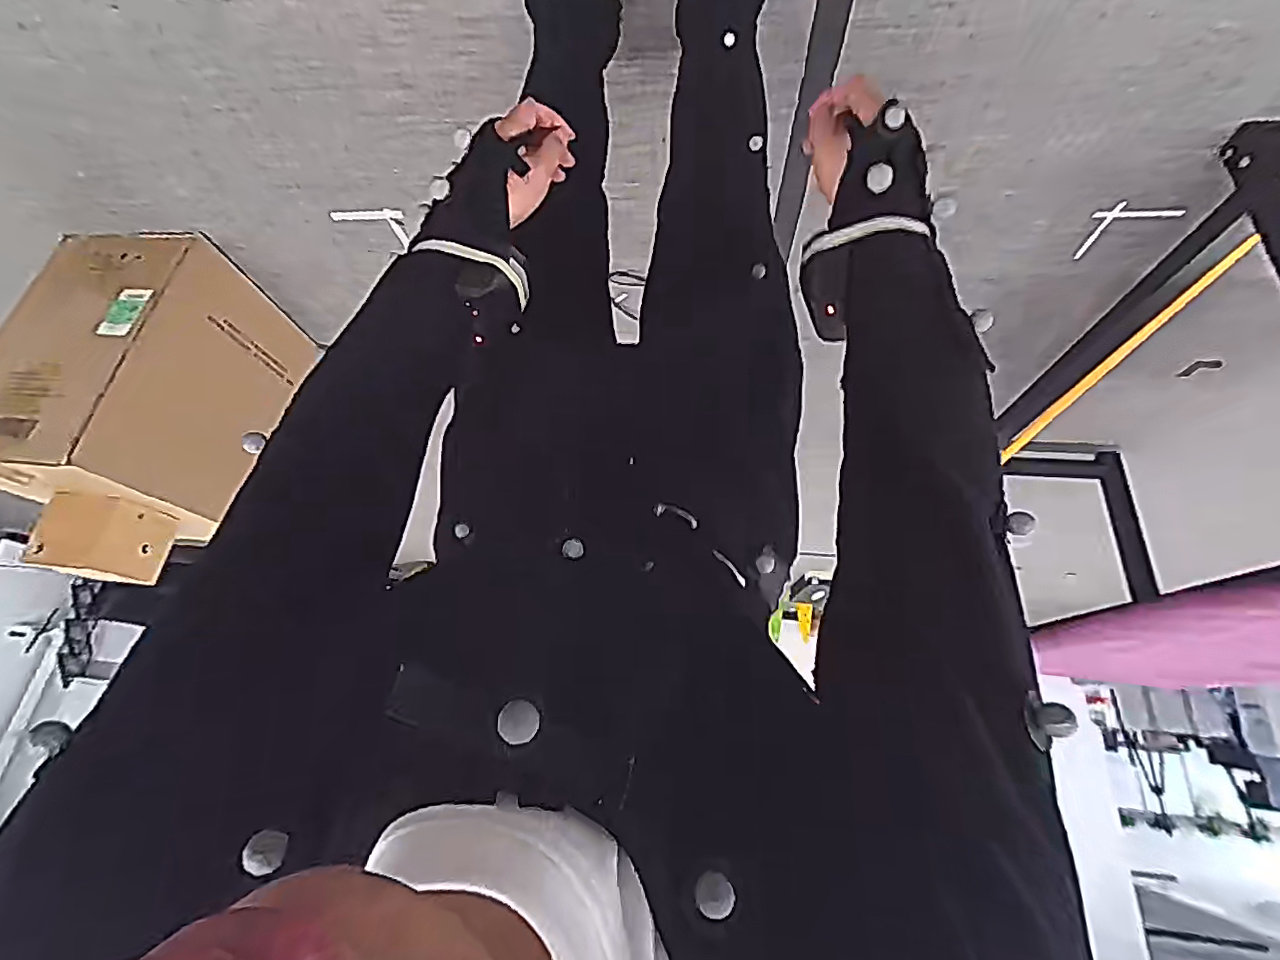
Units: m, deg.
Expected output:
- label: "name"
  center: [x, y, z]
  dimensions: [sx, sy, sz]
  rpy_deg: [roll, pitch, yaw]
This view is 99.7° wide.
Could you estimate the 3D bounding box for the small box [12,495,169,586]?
- label: "small box"
  center: [-1.246, 0.141, 1.248]
  dimensions: [0.179, 0.176, 0.168]
  rpy_deg: [4, 157, 6]
